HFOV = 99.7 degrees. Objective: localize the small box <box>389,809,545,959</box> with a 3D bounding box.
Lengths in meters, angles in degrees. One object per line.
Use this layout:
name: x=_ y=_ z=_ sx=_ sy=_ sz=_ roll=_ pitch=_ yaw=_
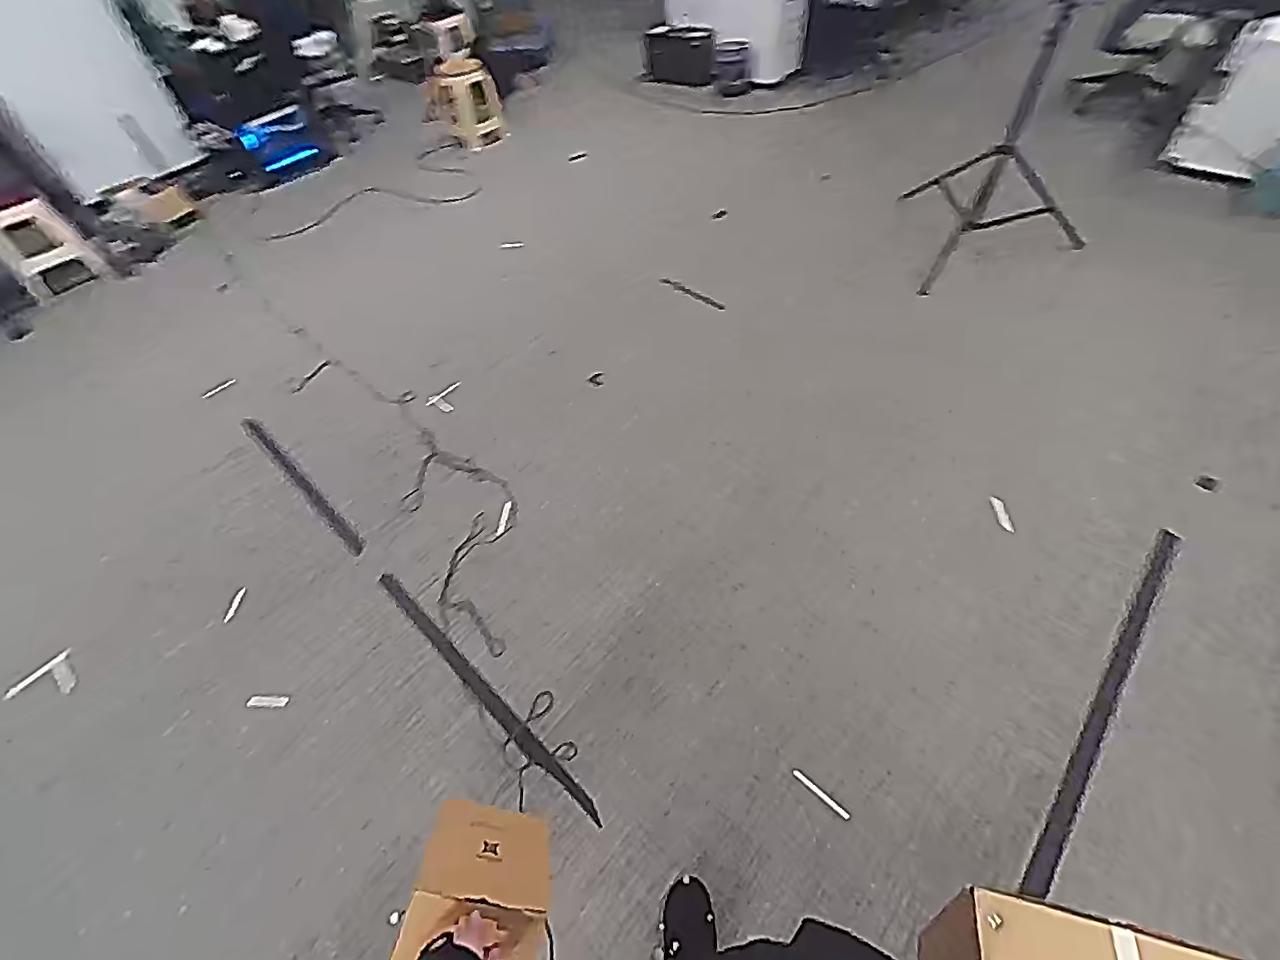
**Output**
small box: x=-0.233 y=0.593 z=0.732 sx=0.168 sy=0.179 sz=0.176 roll=19 pitch=89 yaw=-12
